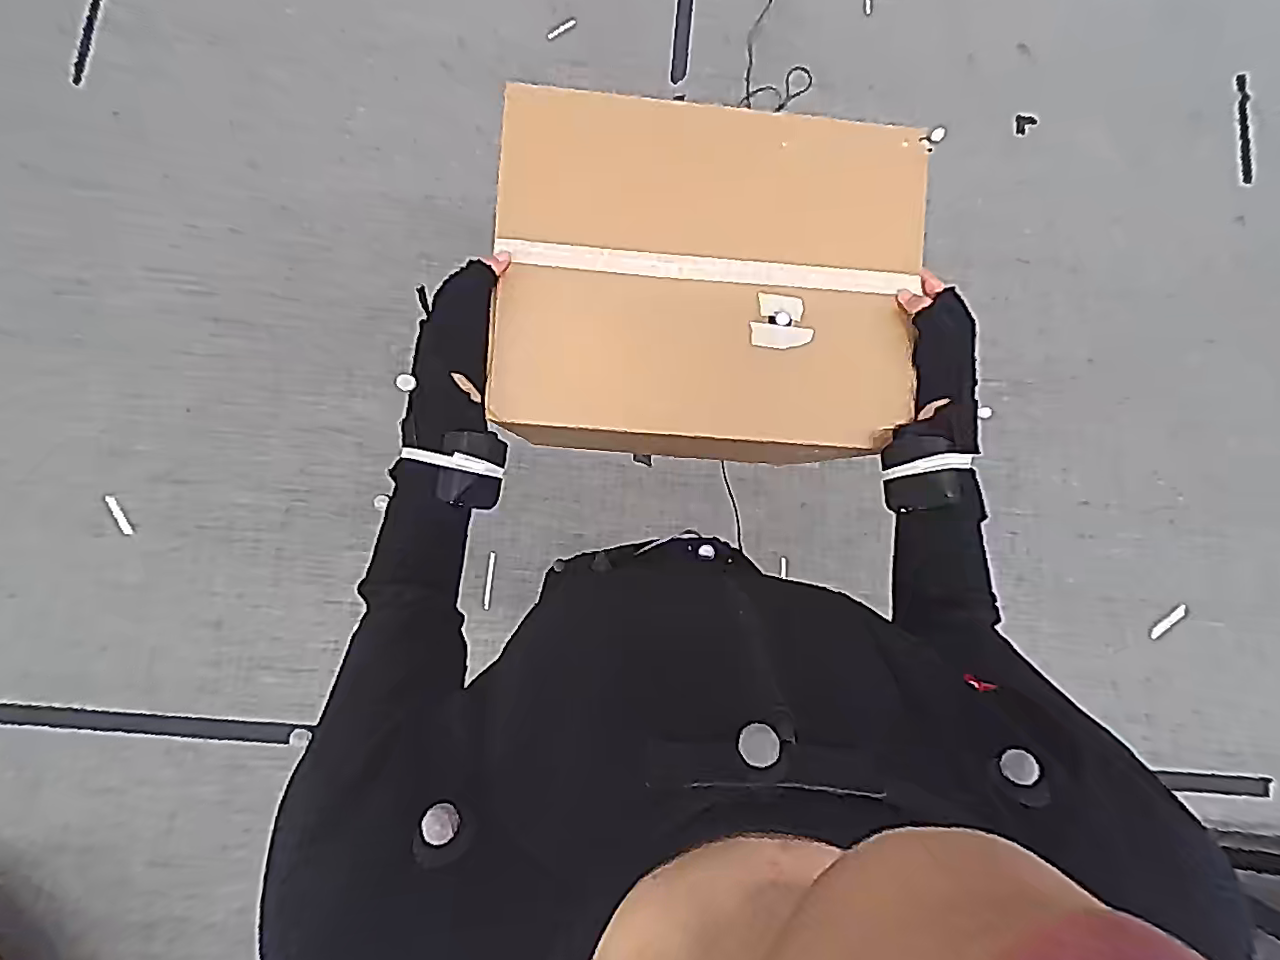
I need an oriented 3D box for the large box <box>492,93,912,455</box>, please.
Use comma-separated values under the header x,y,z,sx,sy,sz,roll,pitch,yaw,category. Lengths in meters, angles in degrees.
x,y,z,sx,sy,sz,roll,pitch,yaw,category
0.053,-0.202,0.671,0.408,0.320,0.320,4,90,-4,large box
